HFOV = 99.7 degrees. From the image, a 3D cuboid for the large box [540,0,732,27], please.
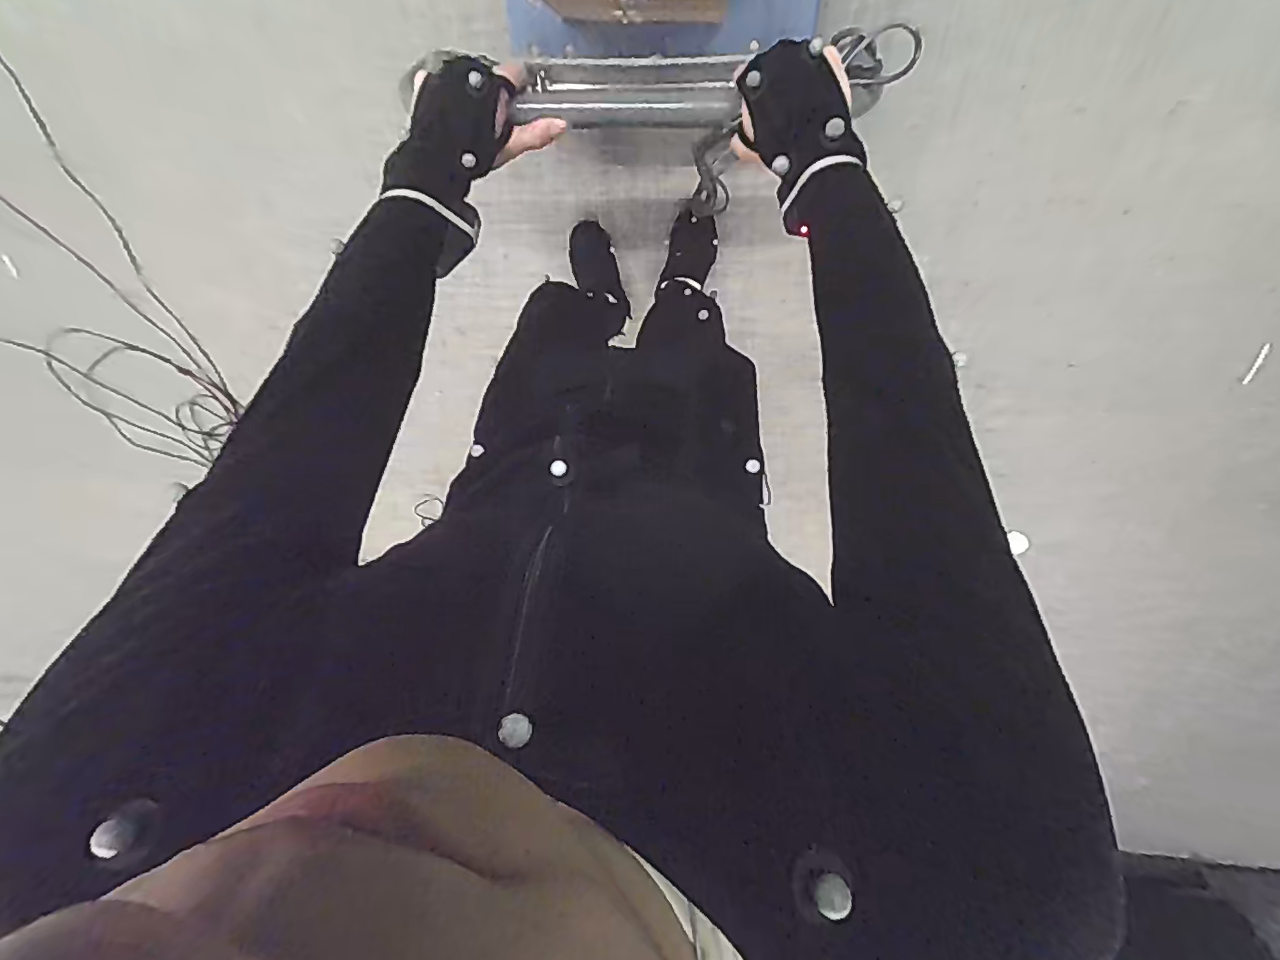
[{"bbox_3d":[0.001,-0.942,0.785,0.320,0.320,0.408,5,122,3],"label":"large box"}]
